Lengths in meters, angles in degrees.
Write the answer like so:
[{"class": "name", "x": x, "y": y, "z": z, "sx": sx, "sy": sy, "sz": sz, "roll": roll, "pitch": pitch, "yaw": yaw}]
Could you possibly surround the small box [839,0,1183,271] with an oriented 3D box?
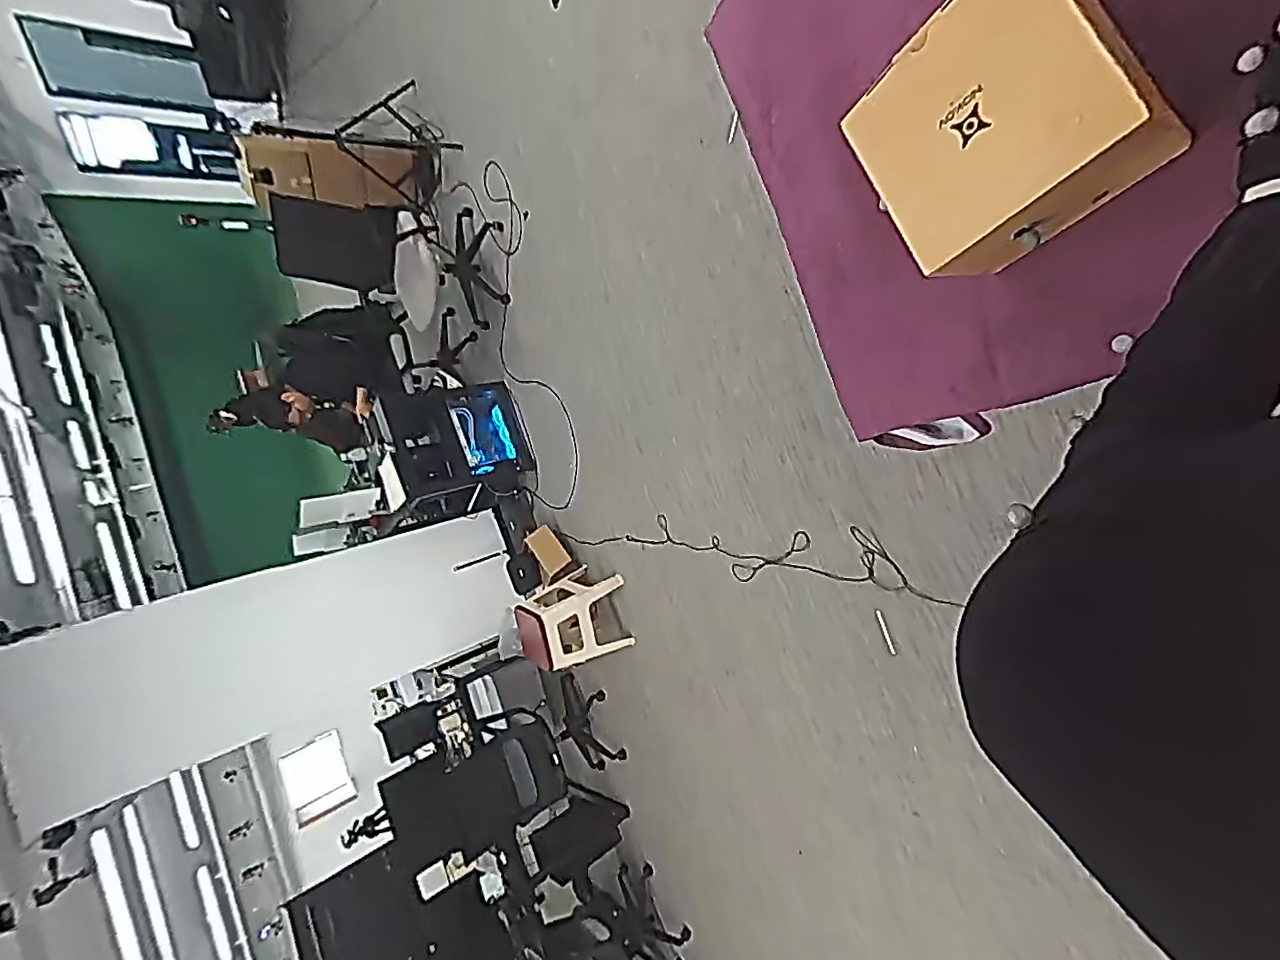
[{"class": "small box", "x": 0.322, "y": -0.312, "z": 0.478, "sx": 0.168, "sy": 0.176, "sz": 0.179, "roll": -37, "pitch": 74, "yaw": 53}]
